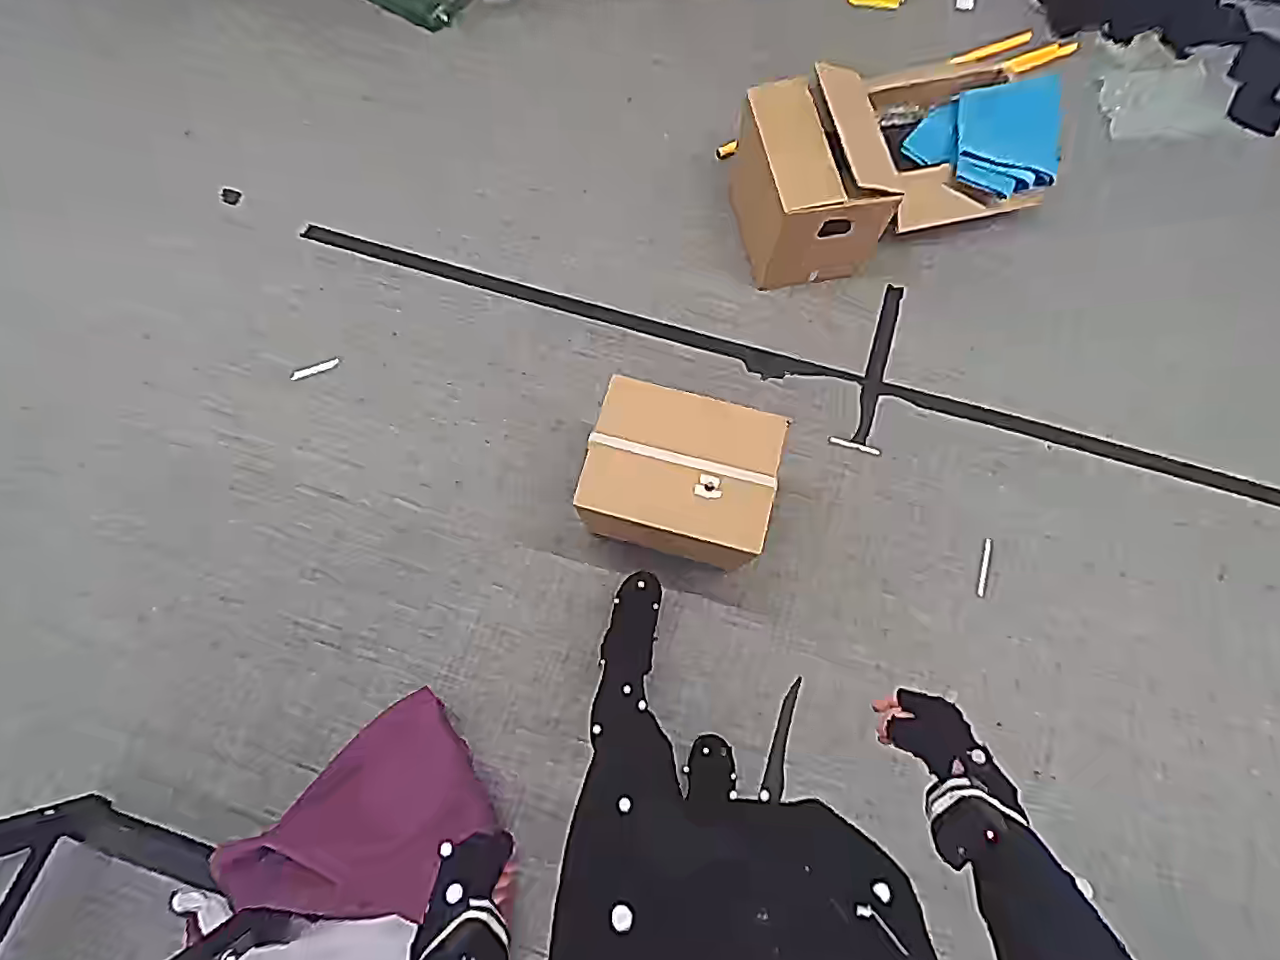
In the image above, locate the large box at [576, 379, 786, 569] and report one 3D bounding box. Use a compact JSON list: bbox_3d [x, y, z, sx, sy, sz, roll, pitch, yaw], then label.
[{"bbox_3d":[0.088,0.002,1.294,0.408,0.320,0.320,14,75,3],"label":"large box"}]
